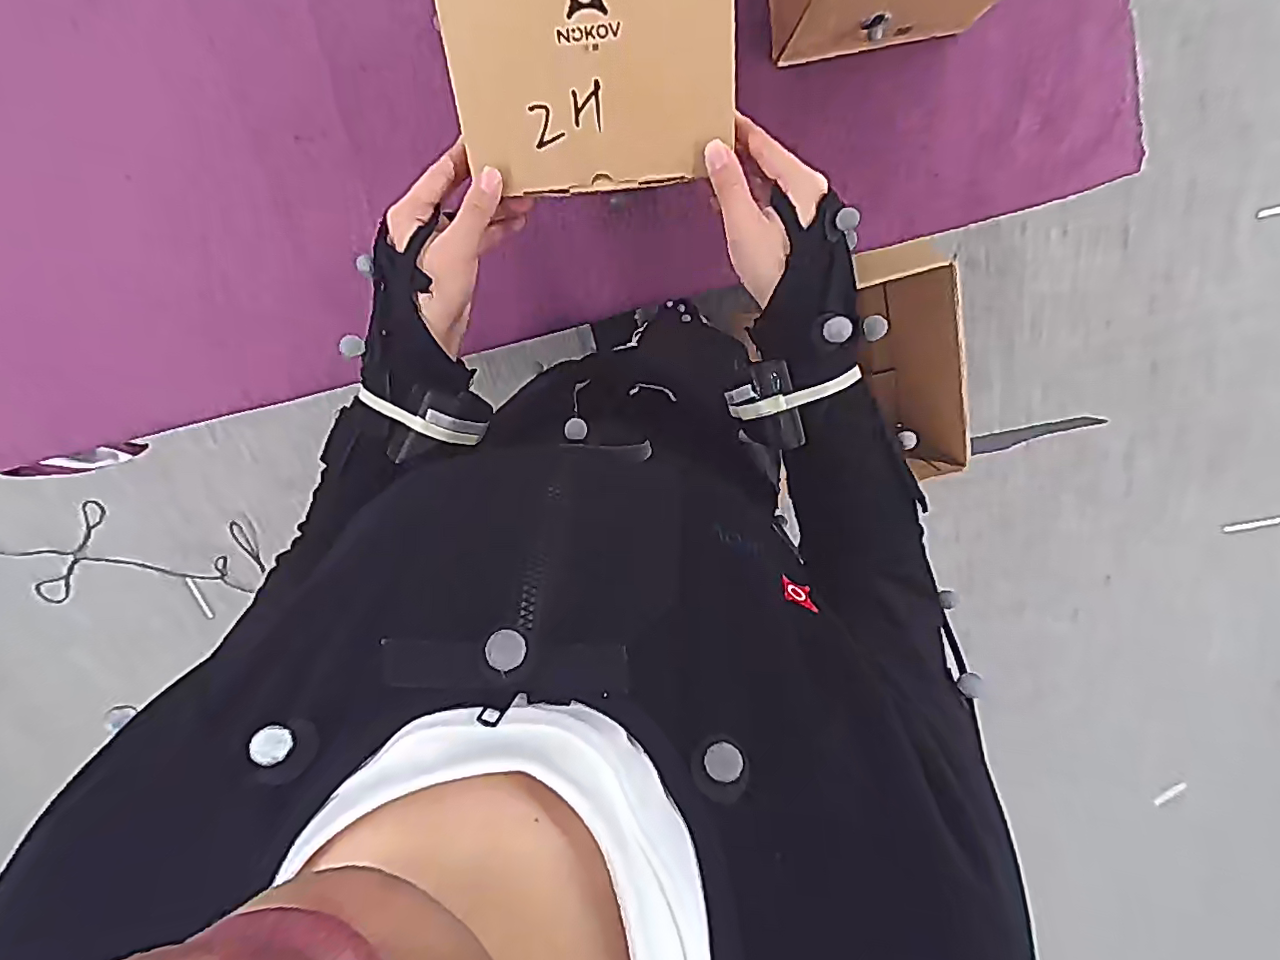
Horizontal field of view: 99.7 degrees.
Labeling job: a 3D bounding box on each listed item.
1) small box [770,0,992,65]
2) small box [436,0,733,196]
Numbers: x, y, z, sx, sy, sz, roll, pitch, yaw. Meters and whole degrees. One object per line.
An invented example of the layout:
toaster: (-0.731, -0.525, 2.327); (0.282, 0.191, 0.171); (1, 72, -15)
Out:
small box: (0.185, -0.436, 0.377); (0.168, 0.176, 0.179); (-8, 109, 4)
small box: (-0.028, -0.298, 0.367); (0.168, 0.176, 0.179); (-3, 119, 5)
